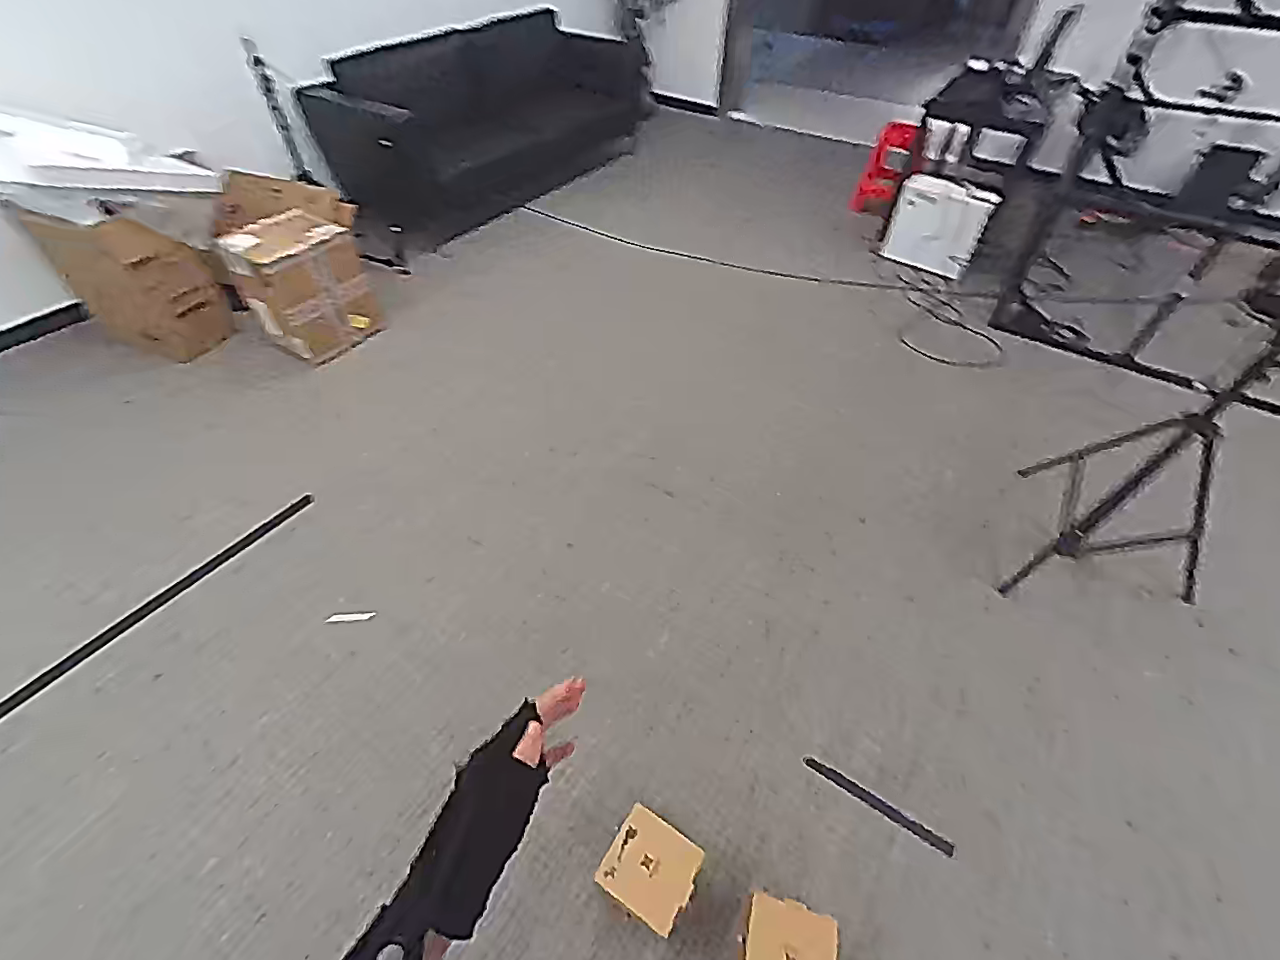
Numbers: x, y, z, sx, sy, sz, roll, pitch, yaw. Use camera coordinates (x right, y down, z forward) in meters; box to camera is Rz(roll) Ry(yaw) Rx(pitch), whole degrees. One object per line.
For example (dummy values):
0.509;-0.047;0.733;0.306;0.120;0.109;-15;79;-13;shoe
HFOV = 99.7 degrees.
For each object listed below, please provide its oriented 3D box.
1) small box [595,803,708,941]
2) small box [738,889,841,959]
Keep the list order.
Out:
0.025;0.835;1.153;0.179;0.176;0.168;26;52;22;small box
0.286;0.941;1.059;0.168;0.176;0.179;12;49;11;small box
